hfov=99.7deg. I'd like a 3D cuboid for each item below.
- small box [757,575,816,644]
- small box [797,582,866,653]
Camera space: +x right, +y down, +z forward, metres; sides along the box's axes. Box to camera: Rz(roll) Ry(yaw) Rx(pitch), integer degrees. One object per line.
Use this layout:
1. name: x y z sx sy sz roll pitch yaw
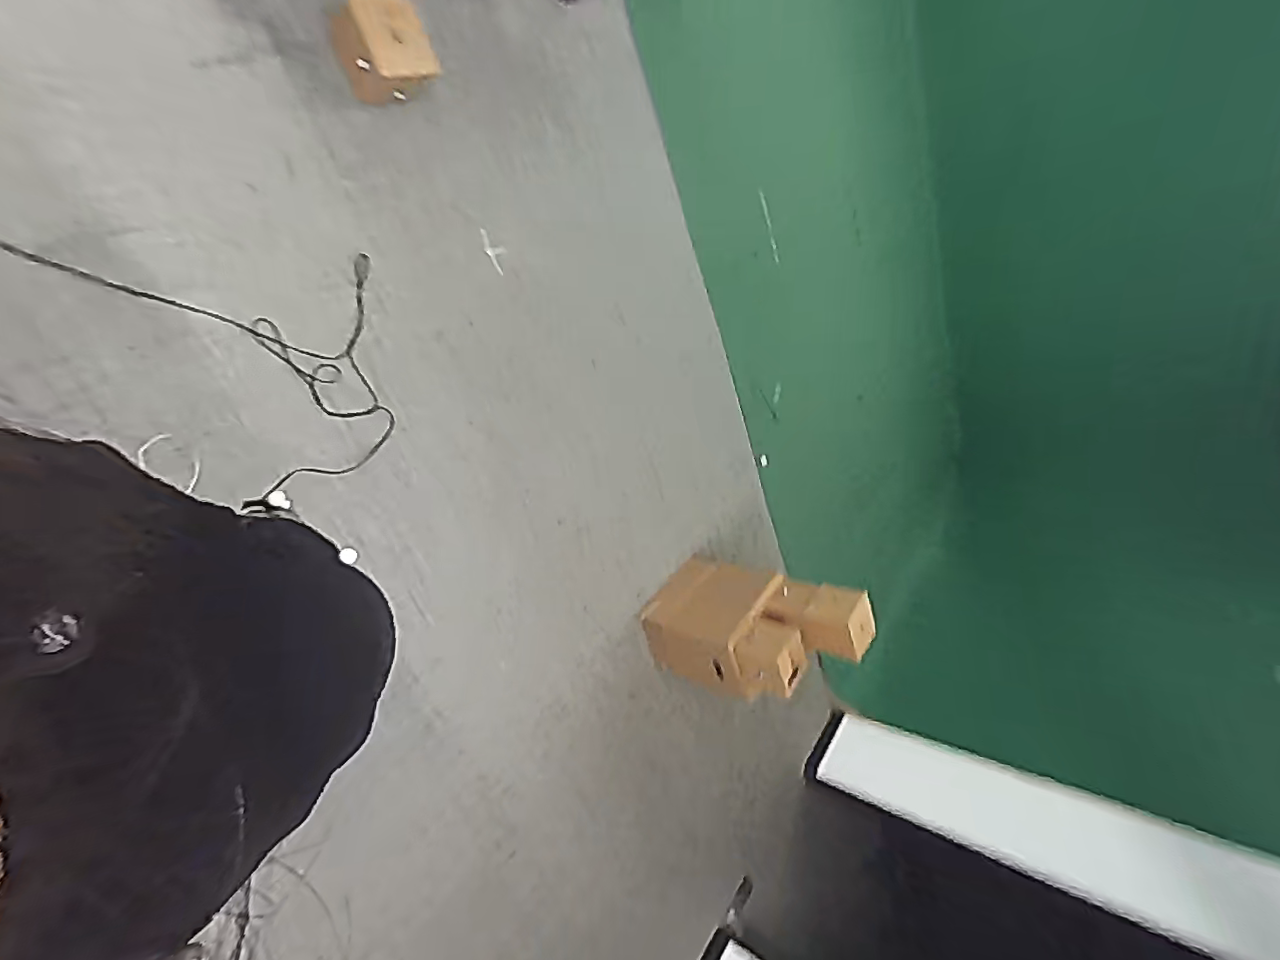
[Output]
1. small box: 0.570 0.484 2.048 0.168 0.176 0.179 -38 117 -36
2. small box: 0.680 0.481 1.928 0.168 0.176 0.179 -39 118 -35
